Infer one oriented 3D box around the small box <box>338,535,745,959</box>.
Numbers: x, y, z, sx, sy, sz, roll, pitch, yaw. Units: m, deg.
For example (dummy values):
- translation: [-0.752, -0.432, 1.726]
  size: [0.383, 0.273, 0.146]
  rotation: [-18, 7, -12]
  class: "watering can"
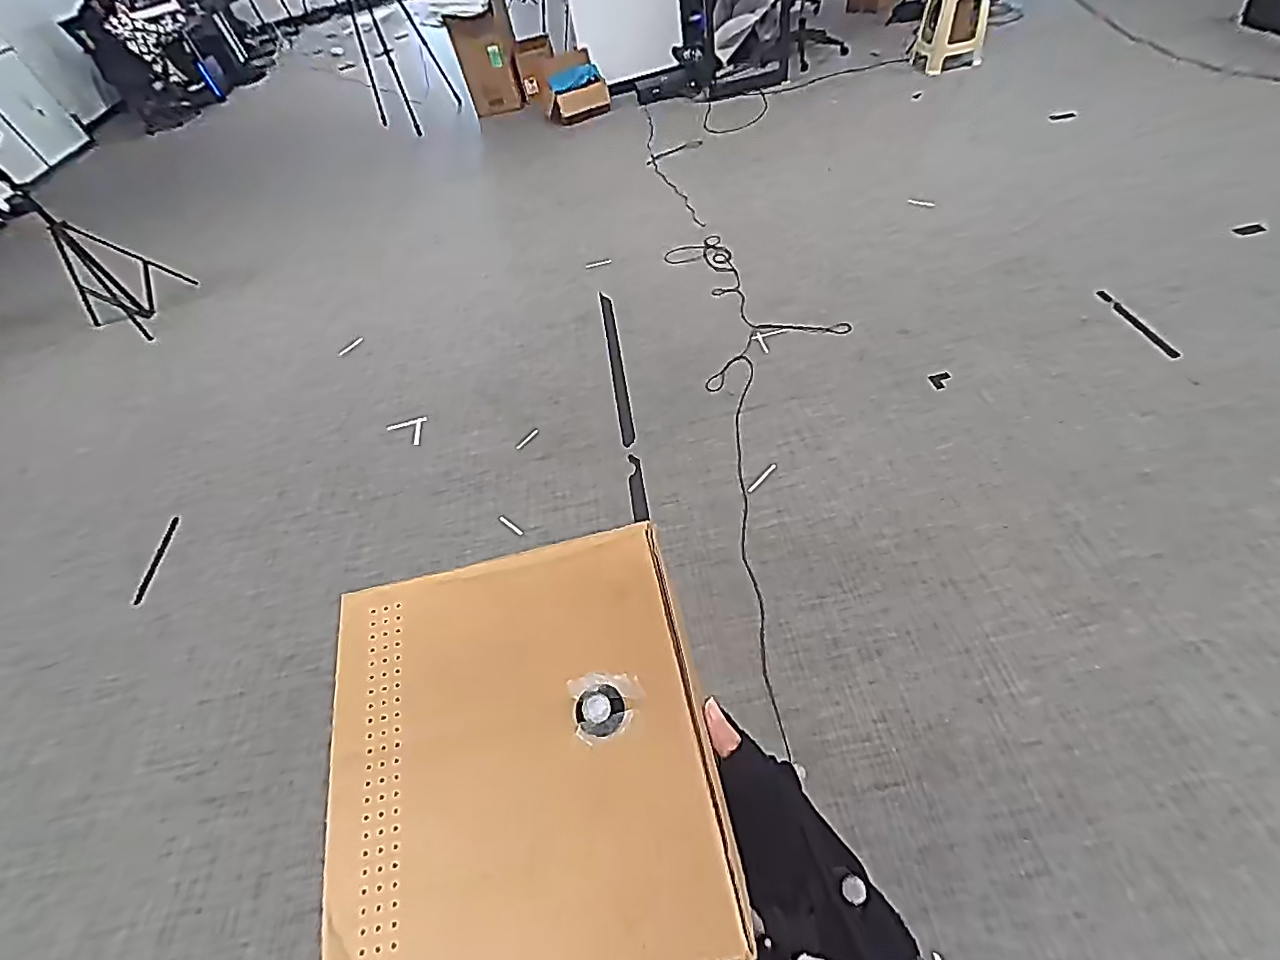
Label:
- translation: [-0.047, 0.158, 0.316]
  size: [0.176, 0.168, 0.179]
  rotation: [-14, 61, 2]
  class: "small box"
